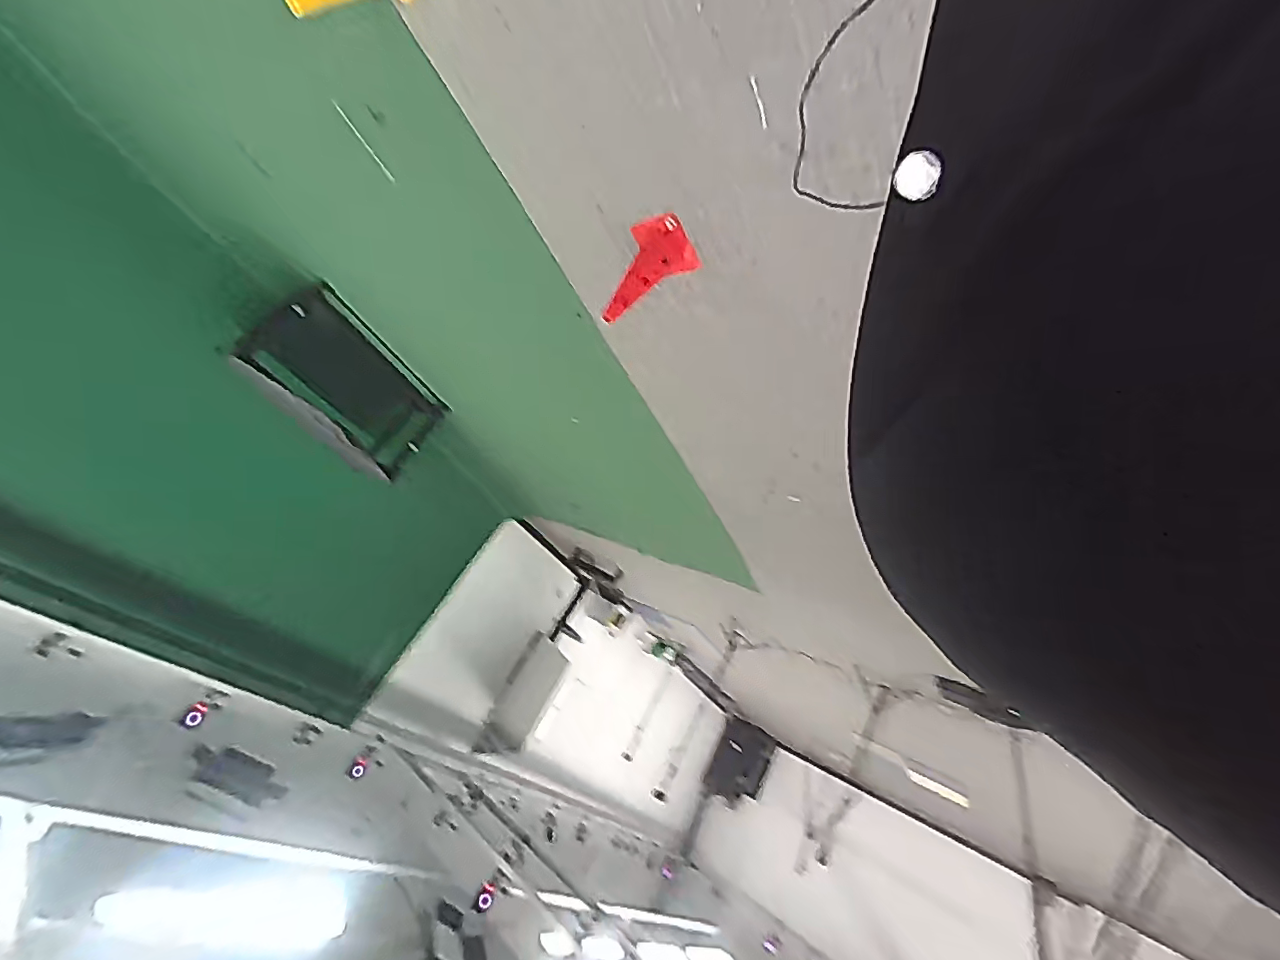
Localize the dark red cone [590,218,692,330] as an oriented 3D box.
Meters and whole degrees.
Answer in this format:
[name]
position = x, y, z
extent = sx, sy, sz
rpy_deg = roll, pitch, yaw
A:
[dark red cone]
position = -0.031, -0.614, 1.679
extent = 0.201, 0.394, 0.202
rpy_deg = 12, 150, 49
